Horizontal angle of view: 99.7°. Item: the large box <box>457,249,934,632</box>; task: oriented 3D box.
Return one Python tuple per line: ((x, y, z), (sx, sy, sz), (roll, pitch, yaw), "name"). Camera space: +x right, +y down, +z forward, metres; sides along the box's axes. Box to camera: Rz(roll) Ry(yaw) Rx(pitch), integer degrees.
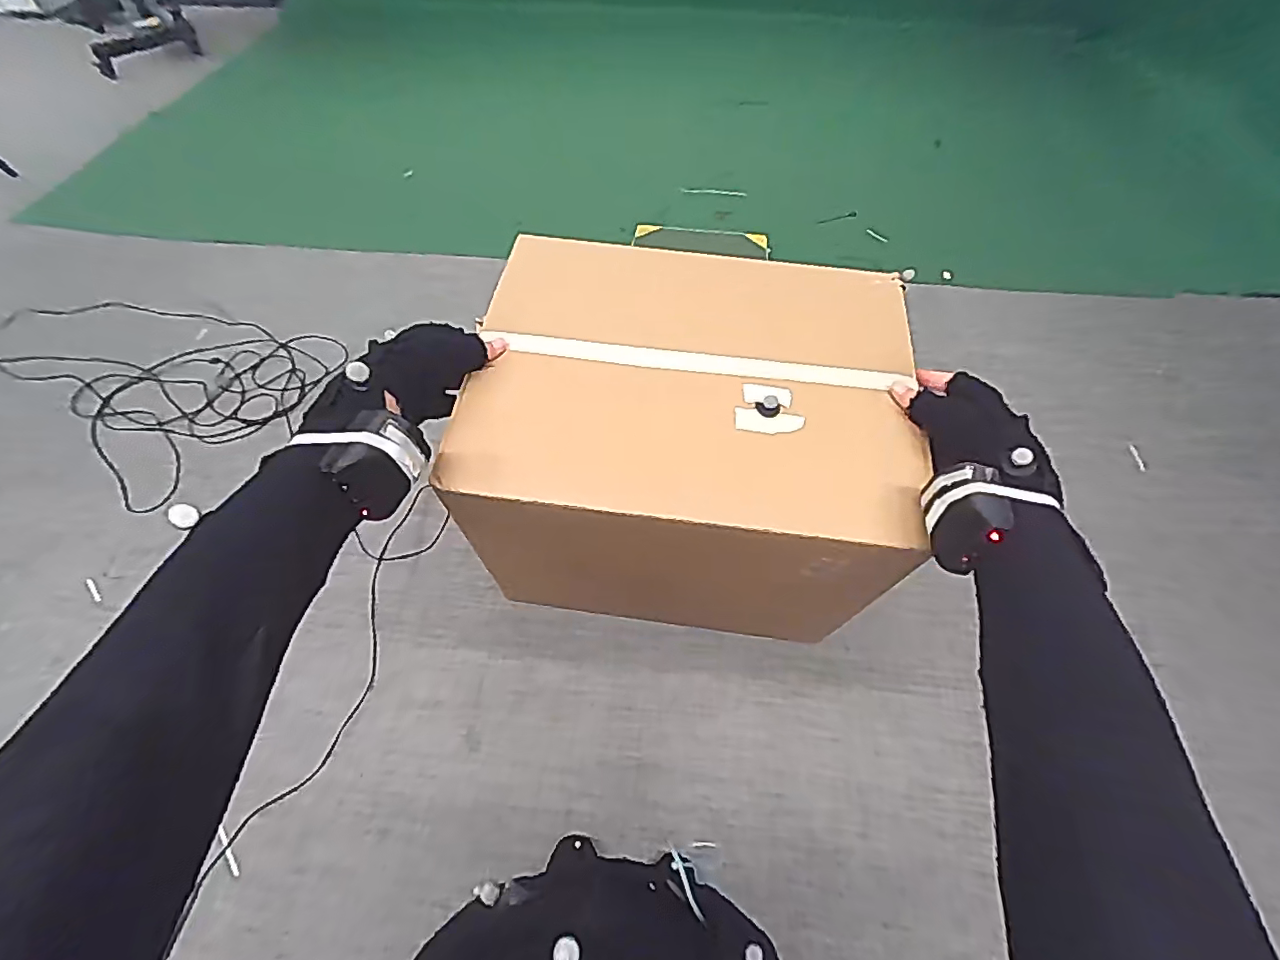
((0.052, -0.028, 0.642), (0.408, 0.320, 0.320), (7, 62, 1), "large box")
